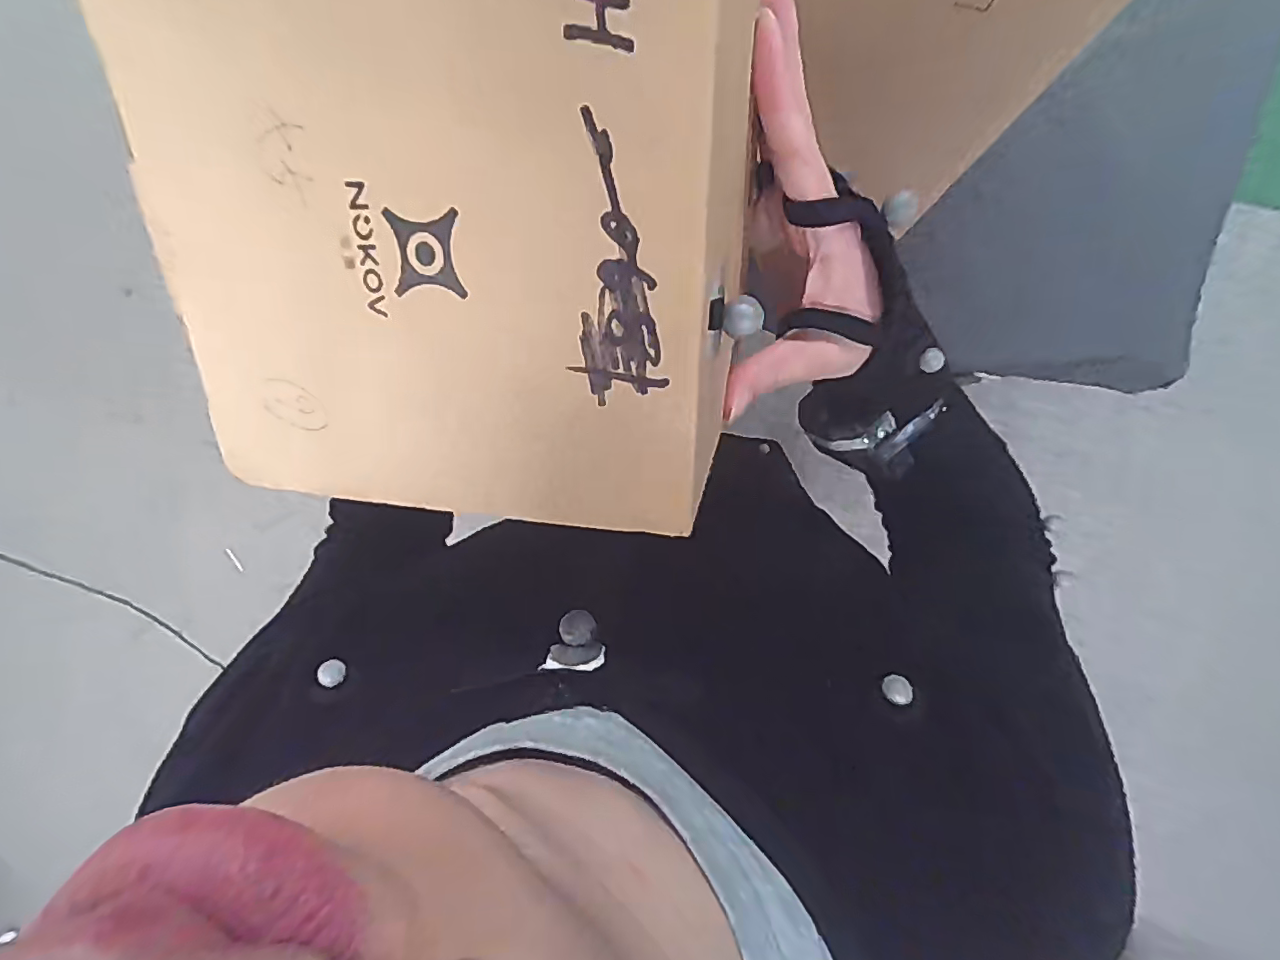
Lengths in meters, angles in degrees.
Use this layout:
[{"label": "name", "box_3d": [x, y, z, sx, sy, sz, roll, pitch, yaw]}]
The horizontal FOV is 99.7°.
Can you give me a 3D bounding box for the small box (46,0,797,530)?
[{"label": "small box", "box_3d": [-0.042, -0.103, 0.200, 0.179, 0.176, 0.168, 7, 116, 11]}]
